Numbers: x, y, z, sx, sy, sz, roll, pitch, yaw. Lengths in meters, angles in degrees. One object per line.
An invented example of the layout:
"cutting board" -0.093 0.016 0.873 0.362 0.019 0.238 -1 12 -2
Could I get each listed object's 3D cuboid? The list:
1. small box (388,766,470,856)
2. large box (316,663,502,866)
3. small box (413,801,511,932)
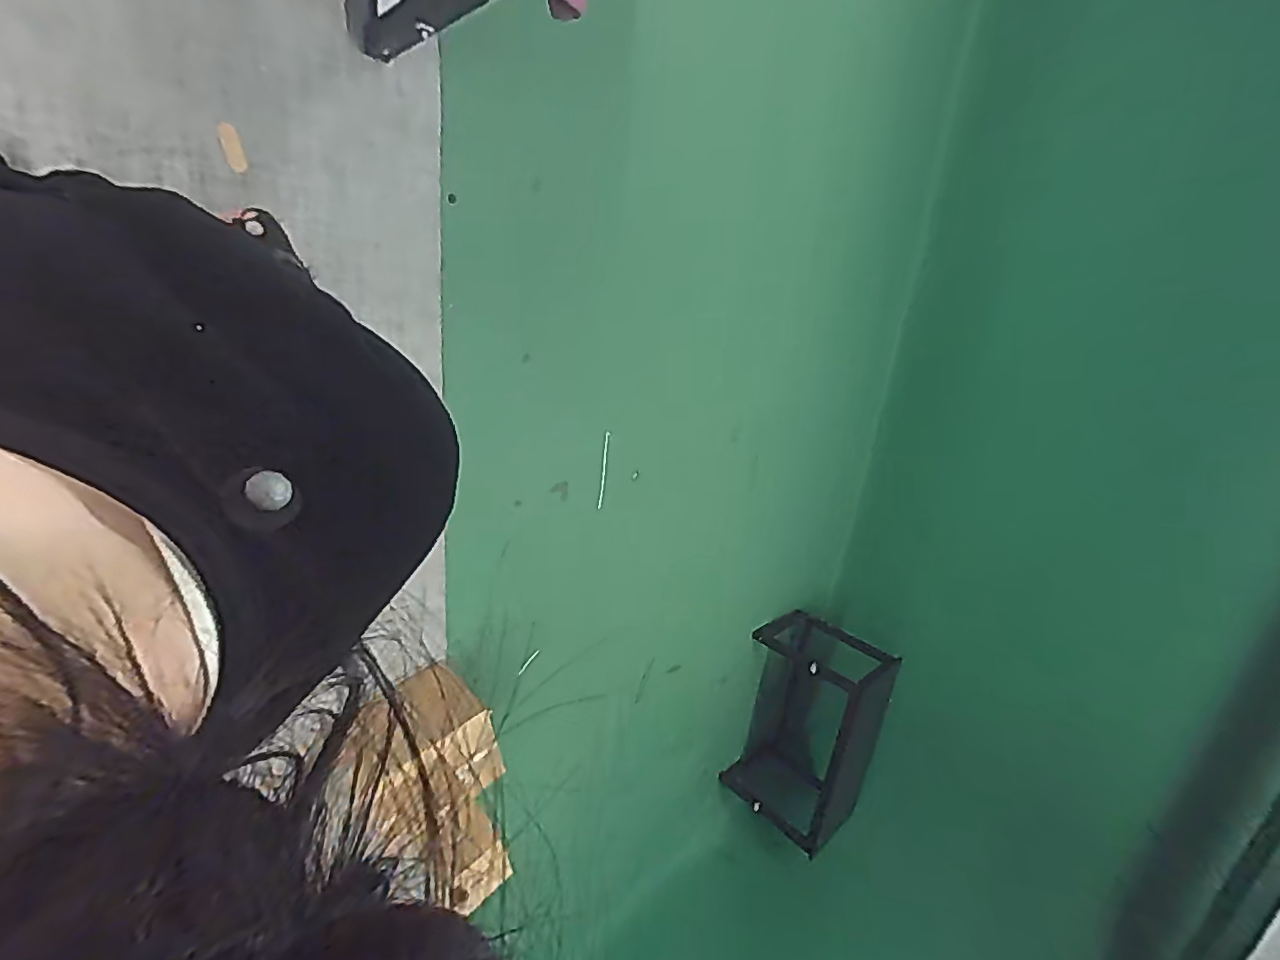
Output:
"small box" -0.576 0.939 1.506 0.168 0.176 0.179 -26 124 -37
"large box" -0.714 0.866 1.700 0.408 0.320 0.320 -28 126 -37
"small box" -0.464 0.989 1.396 0.179 0.176 0.168 -28 125 -36
